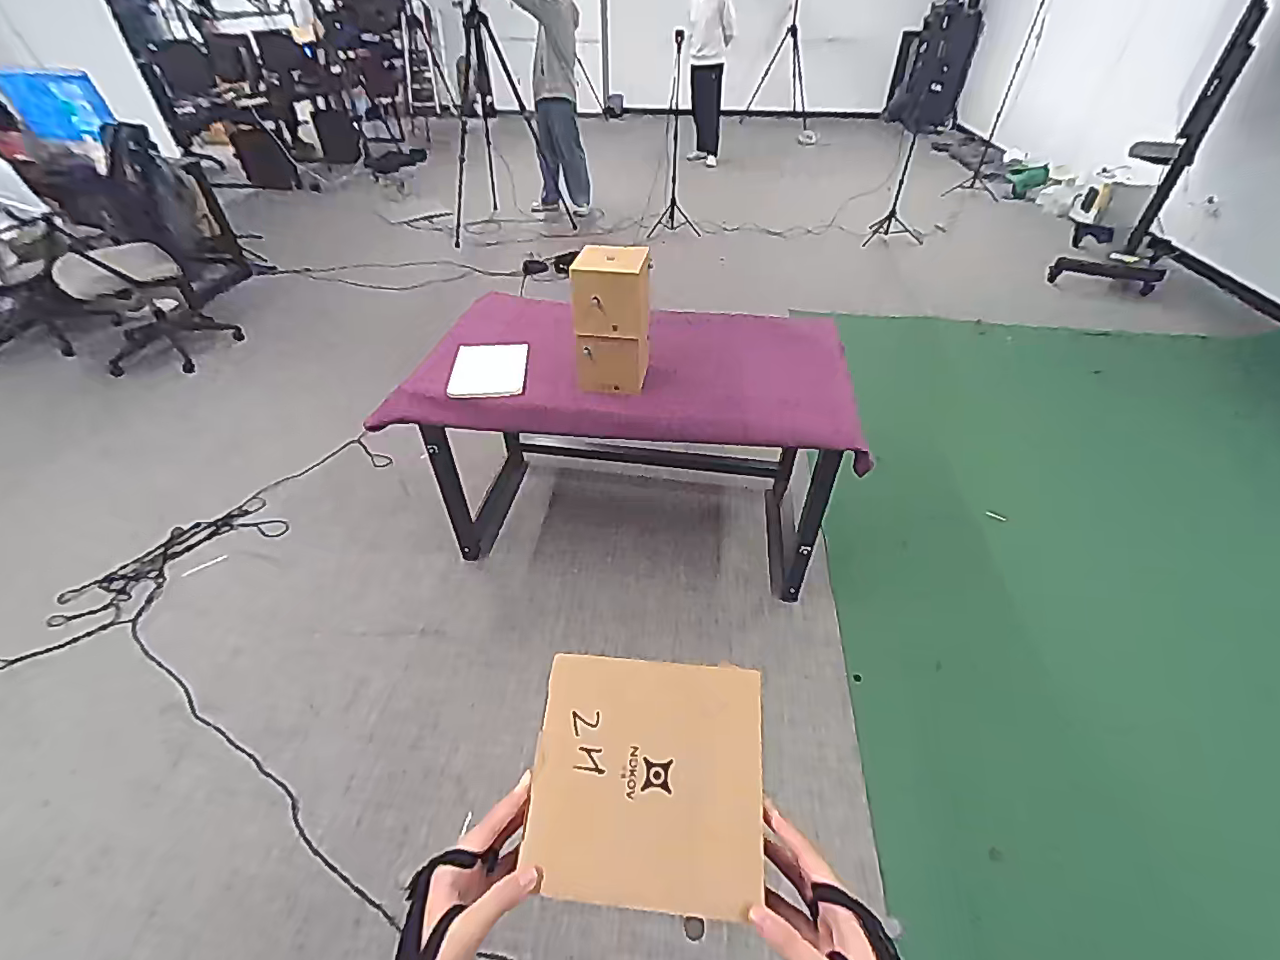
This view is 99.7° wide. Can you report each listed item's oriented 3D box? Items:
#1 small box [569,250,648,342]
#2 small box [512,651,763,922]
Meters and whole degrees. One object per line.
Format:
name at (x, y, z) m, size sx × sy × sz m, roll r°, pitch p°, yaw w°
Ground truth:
small box at (-0.071, -0.457, 1.346) m, size 0.168 × 0.176 × 0.179 m, roll 6°, pitch 40°, yaw 6°
small box at (0.008, 0.263, 0.479) m, size 0.179 × 0.176 × 0.168 m, roll 4°, pitch 58°, yaw 6°
